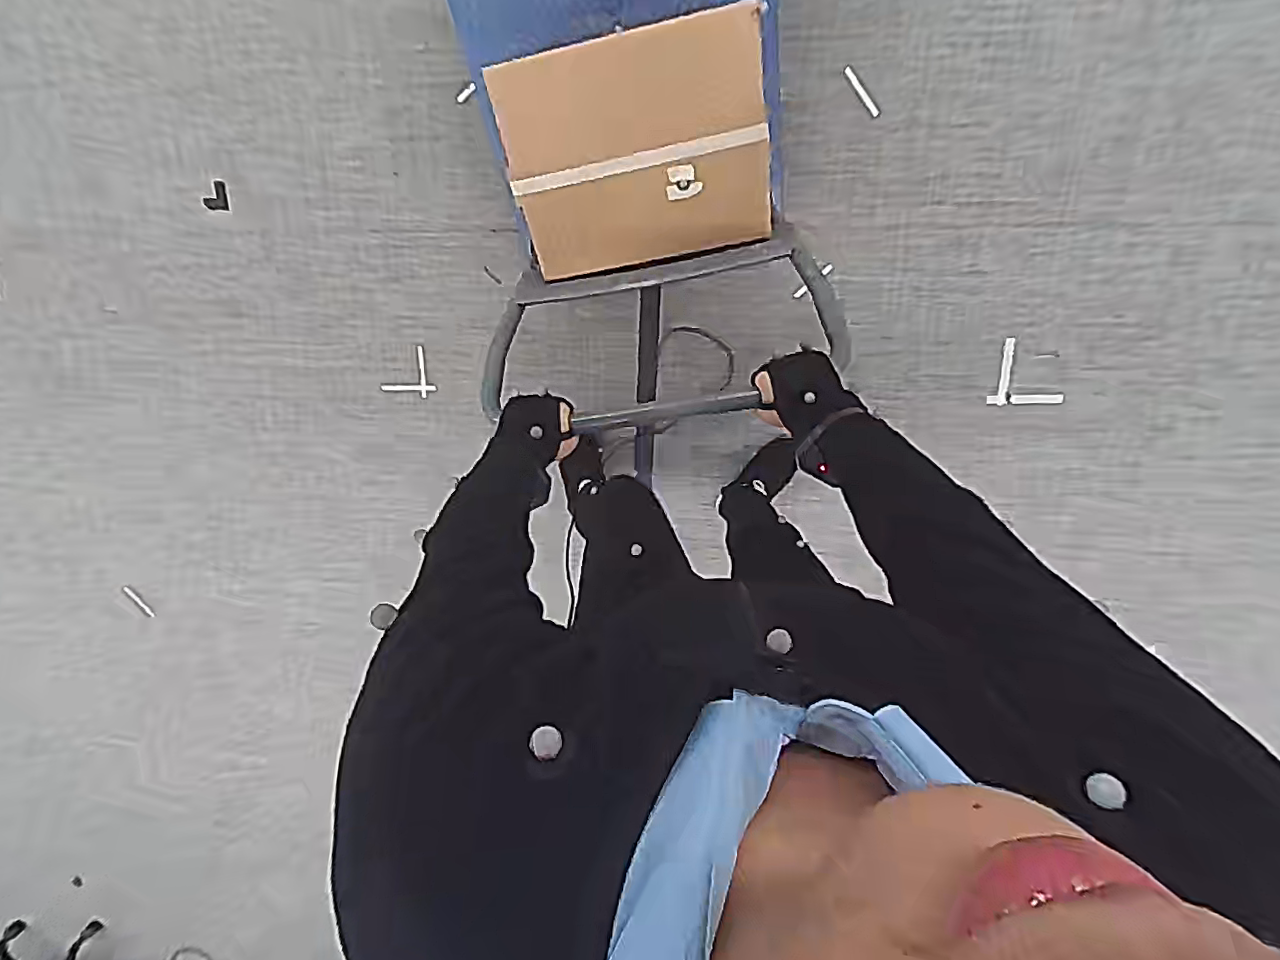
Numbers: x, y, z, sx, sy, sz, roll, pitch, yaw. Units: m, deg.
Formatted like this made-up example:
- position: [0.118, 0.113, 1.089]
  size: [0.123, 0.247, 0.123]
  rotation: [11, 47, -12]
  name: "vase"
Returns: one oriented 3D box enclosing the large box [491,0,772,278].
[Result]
- position: [0.000, -0.607, 0.984]
  size: [0.408, 0.320, 0.320]
  rotation: [-10, 127, 7]
  name: "large box"
